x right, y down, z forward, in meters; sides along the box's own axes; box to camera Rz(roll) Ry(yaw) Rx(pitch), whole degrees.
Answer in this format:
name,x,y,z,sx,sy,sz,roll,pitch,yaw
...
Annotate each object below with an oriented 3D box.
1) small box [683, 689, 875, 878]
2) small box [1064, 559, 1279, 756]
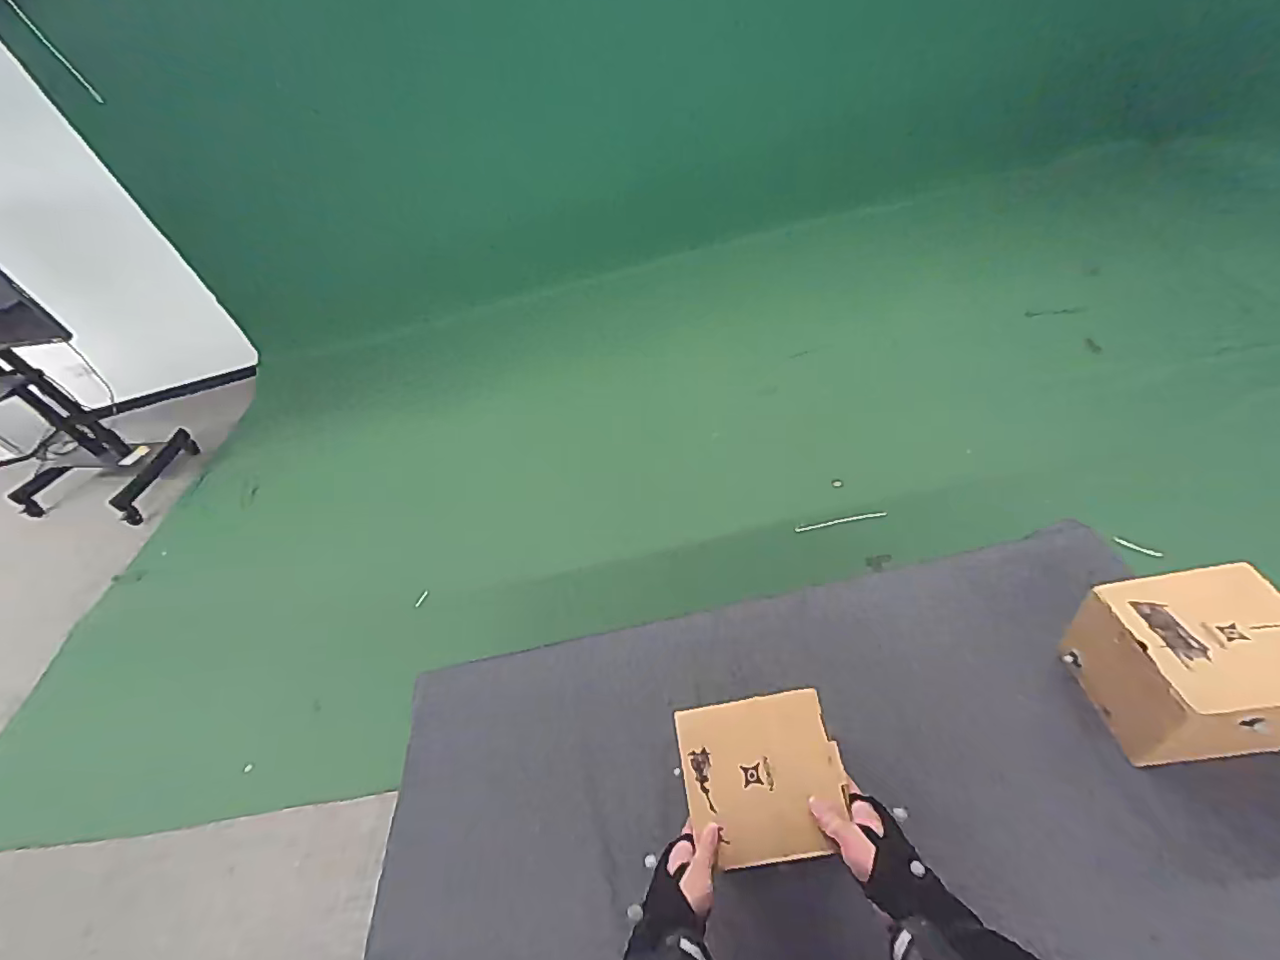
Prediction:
name,x,y,z,sx,sy,sz,roll,pitch,yaw
small box,0.156,0.369,0.662,0.179,0.176,0.168,-12,57,3
small box,0.680,0.227,0.678,0.179,0.176,0.168,-11,44,5
